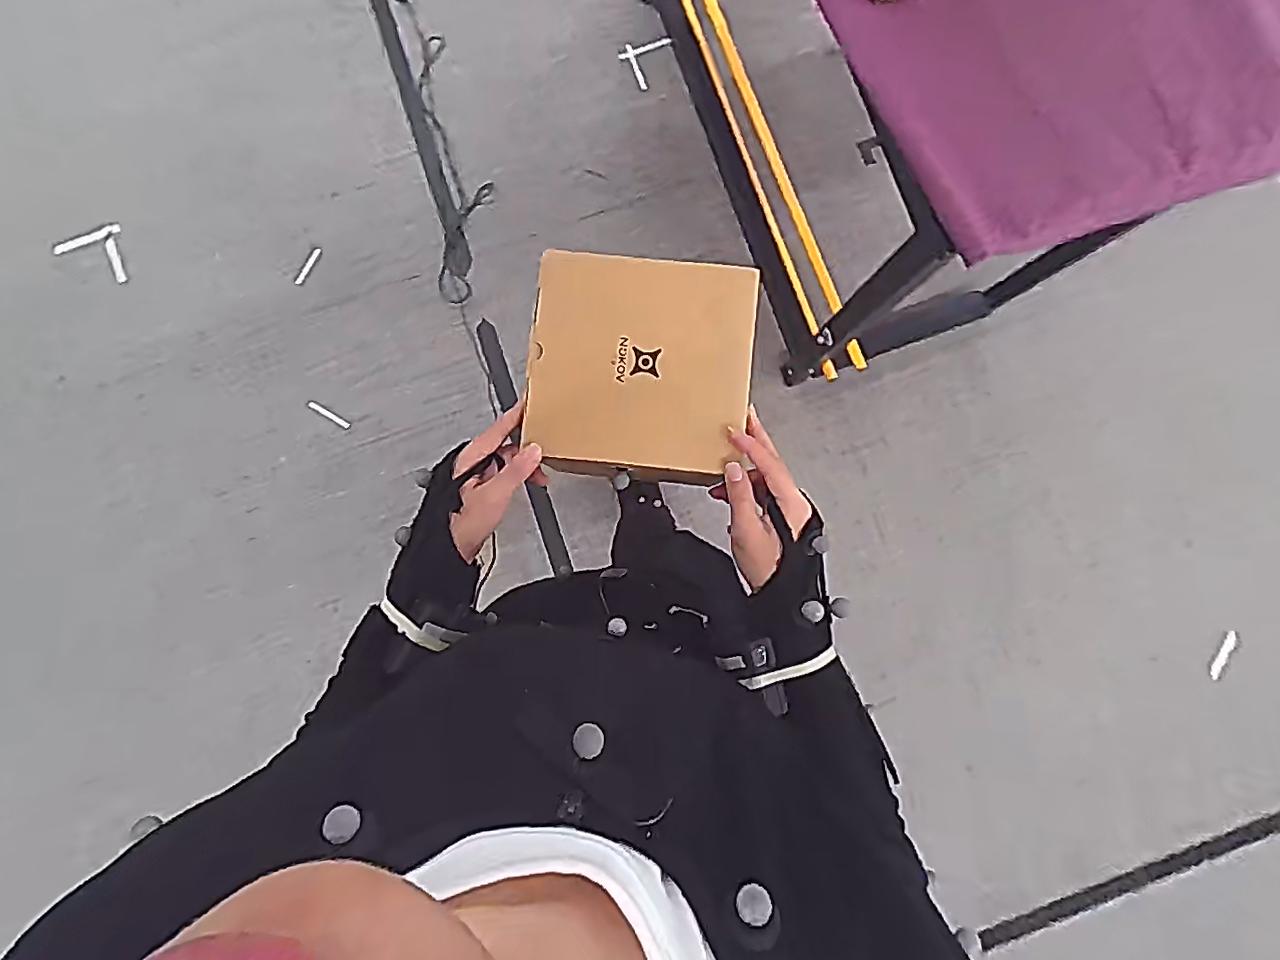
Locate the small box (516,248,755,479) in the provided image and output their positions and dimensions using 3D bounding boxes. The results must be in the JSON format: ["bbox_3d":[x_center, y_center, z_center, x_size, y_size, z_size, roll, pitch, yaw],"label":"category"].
[{"bbox_3d":[-0.002,-0.091,0.502,0.179,0.176,0.168,5,87,1],"label":"small box"}]

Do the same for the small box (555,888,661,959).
[{"bbox_3d":[-0.062,0.952,1.061,0.168,0.176,0.179,-25,87,-2],"label":"small box"}]
